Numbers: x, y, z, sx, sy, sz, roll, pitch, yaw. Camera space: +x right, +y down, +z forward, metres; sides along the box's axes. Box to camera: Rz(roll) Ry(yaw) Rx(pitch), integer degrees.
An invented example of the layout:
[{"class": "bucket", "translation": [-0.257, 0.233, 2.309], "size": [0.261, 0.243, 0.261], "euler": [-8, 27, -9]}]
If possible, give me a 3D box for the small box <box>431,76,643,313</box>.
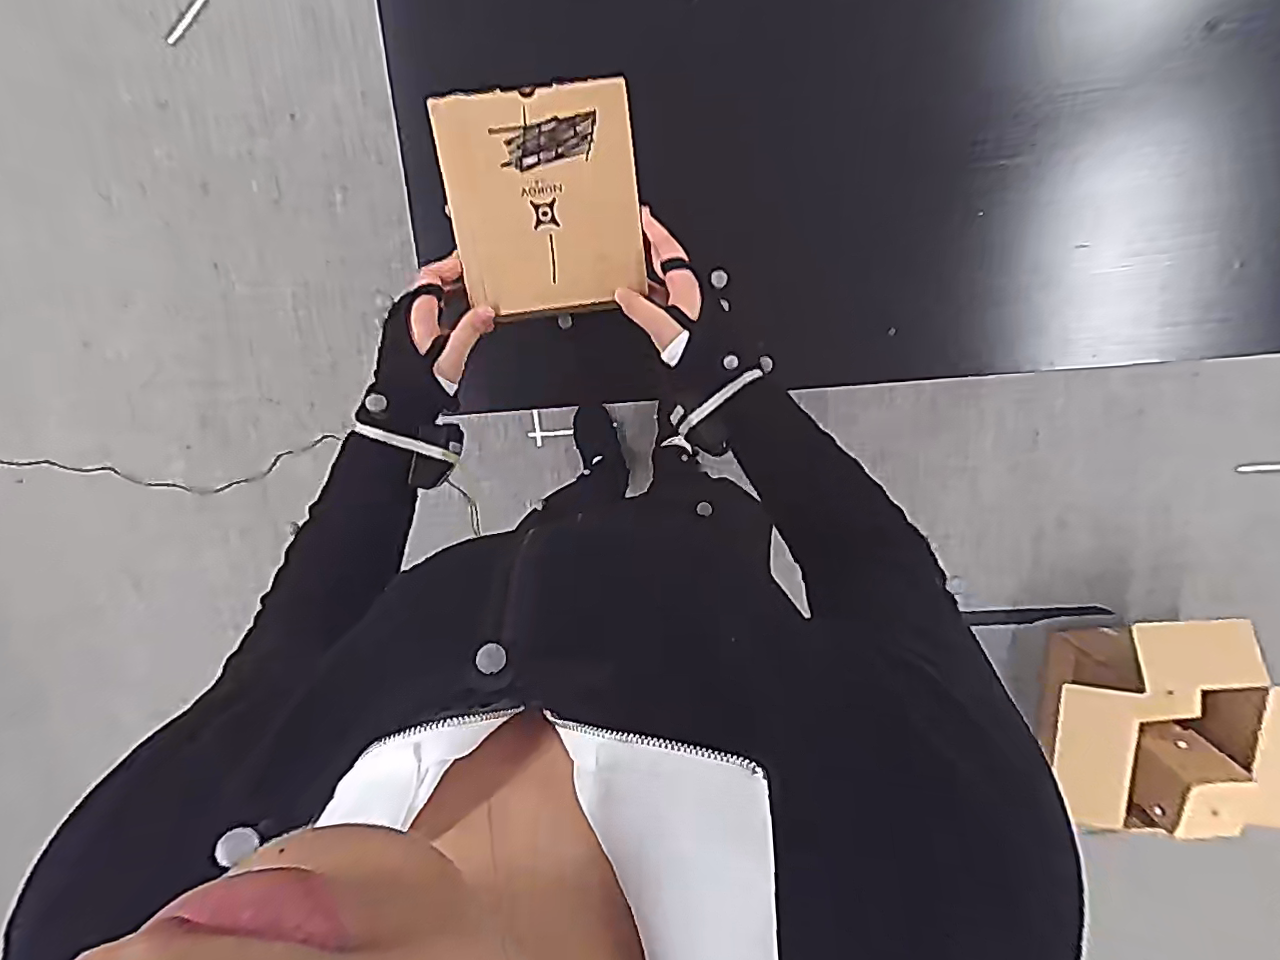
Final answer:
[{"class": "small box", "translation": [-0.092, -0.271, 0.553], "size": [0.168, 0.176, 0.179], "euler": [-8, 107, -1]}]
